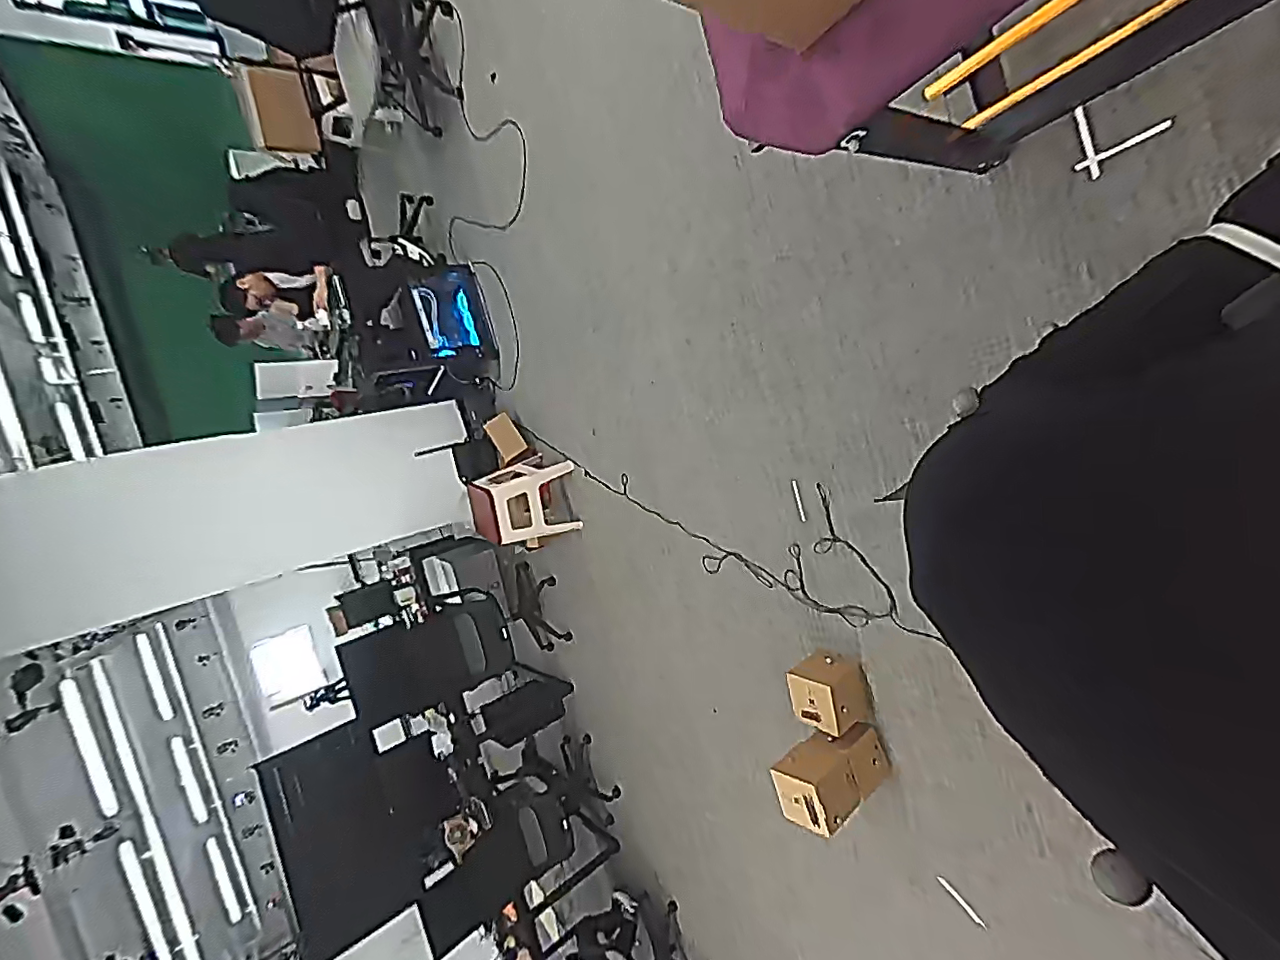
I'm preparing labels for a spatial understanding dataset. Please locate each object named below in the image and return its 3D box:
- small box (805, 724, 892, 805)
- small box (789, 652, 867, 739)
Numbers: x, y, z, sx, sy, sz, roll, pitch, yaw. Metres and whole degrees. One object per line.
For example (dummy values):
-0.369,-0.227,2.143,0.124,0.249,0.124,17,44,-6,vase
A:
0.681,0.912,1.764,0.179,0.176,0.168,-23,86,54,small box
0.613,0.689,1.749,0.168,0.176,0.179,-2,103,54,small box
